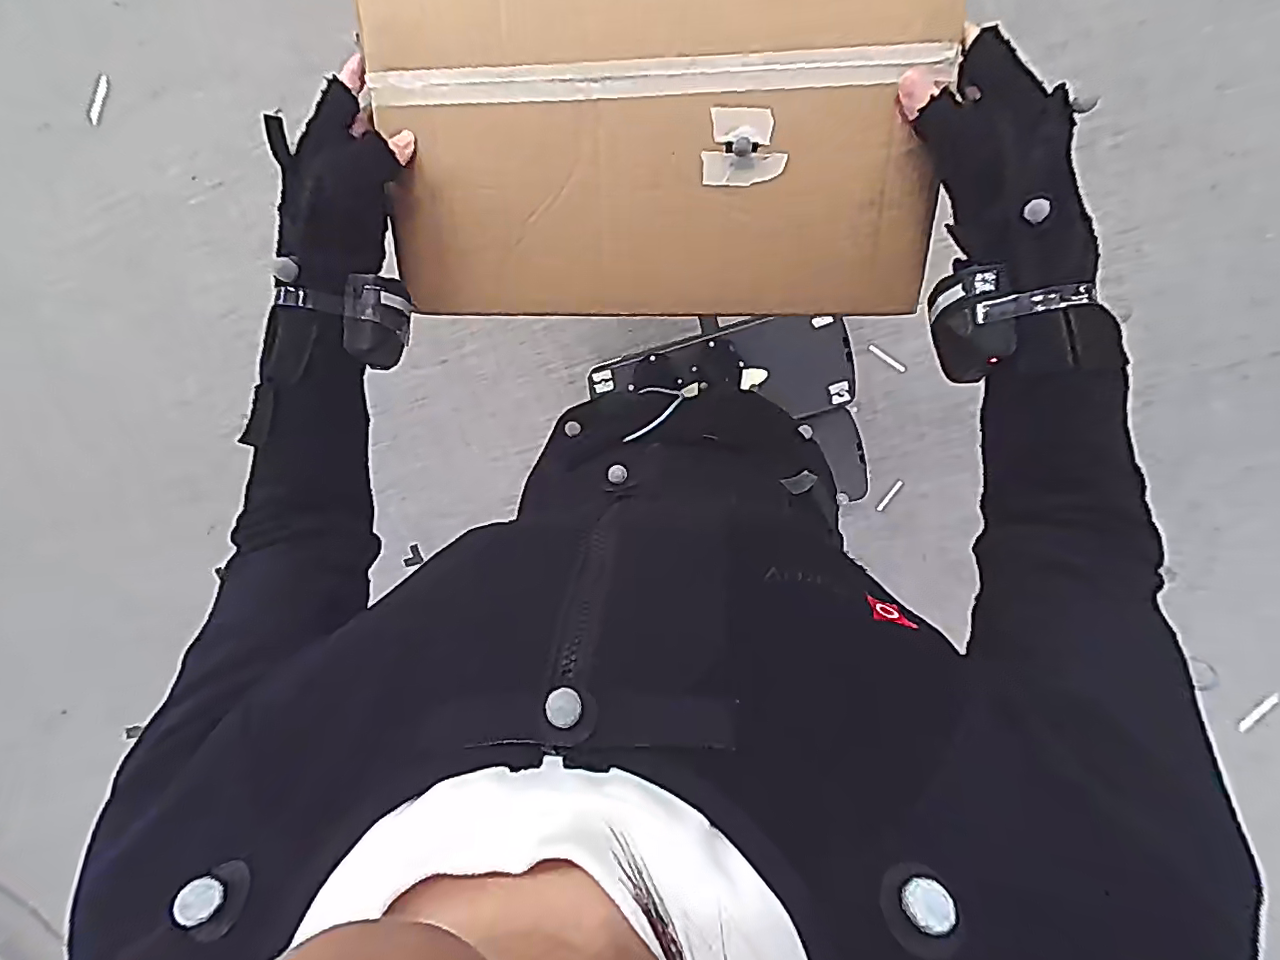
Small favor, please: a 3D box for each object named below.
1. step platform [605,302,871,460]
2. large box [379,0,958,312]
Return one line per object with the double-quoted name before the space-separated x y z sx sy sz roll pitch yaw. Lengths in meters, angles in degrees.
"step platform" 0.252 -0.277 1.460 0.684 0.204 0.286 -16 103 10
"large box" 0.025 -0.338 0.523 0.408 0.320 0.320 1 112 5
